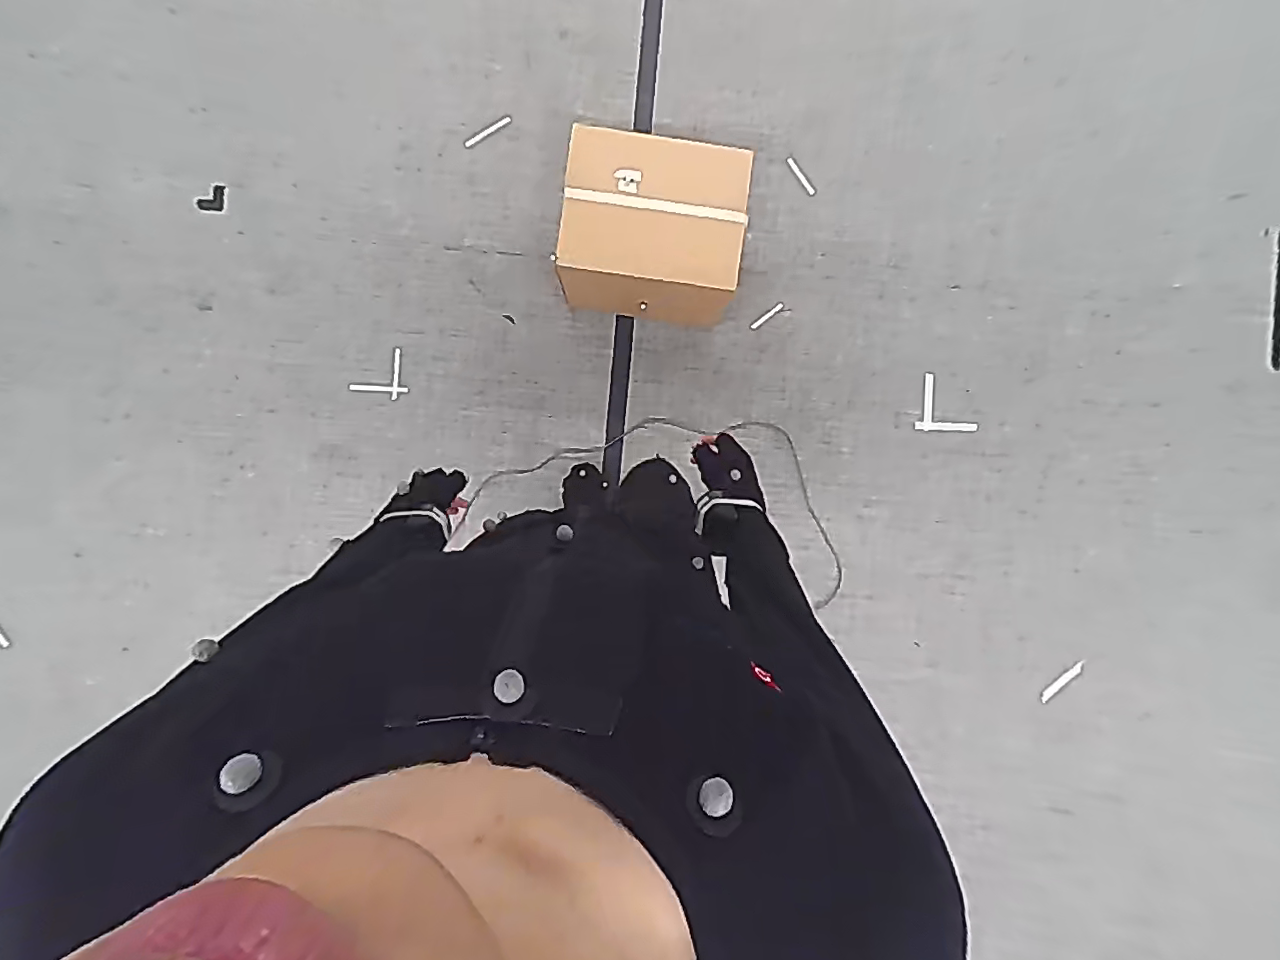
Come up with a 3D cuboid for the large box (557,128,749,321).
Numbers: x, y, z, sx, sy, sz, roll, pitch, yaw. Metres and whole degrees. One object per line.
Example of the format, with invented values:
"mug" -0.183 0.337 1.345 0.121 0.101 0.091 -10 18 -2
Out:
"large box" 0.029 -0.602 1.338 0.408 0.320 0.320 7 90 -1
